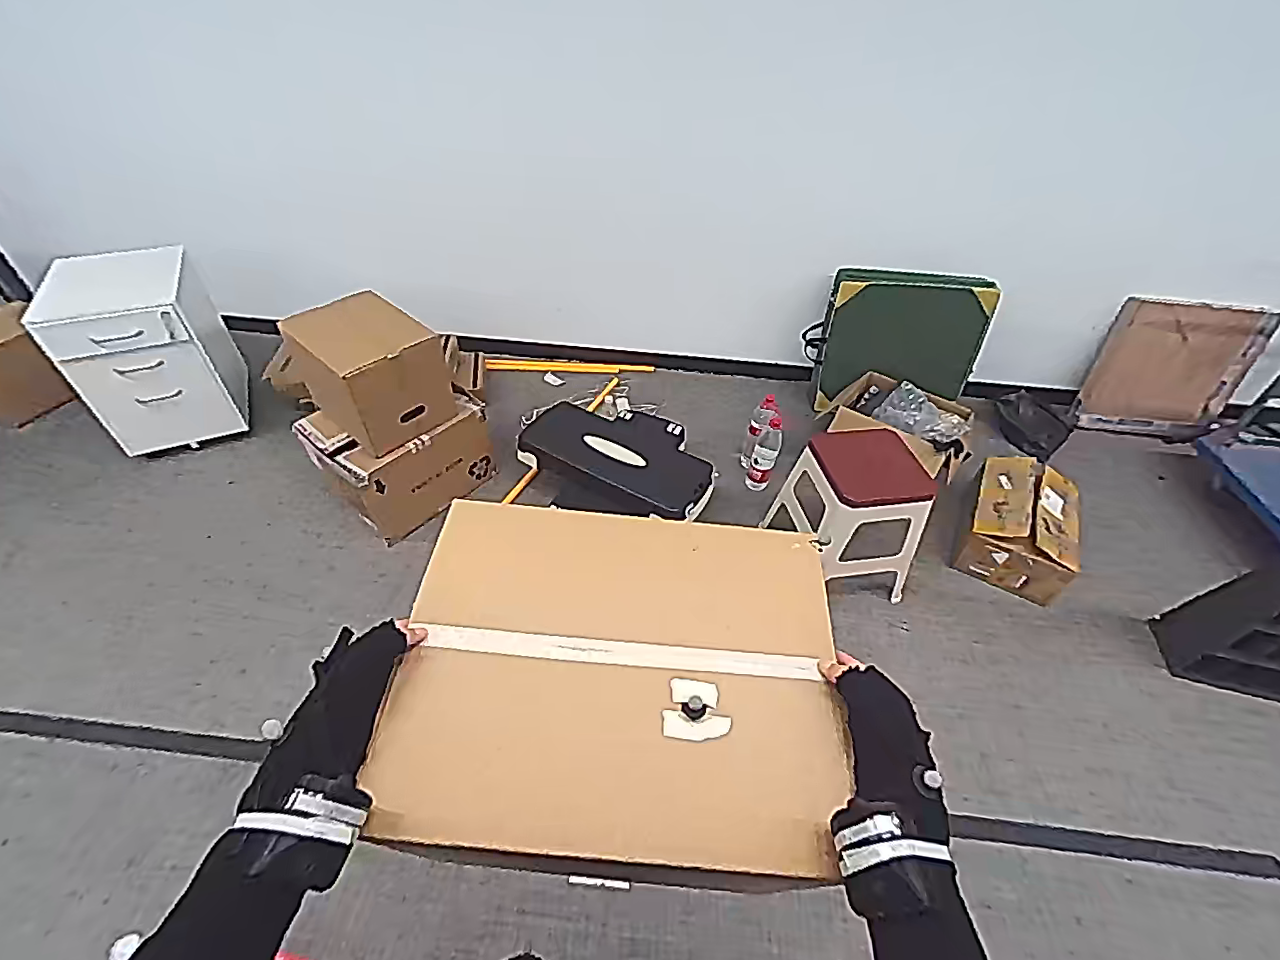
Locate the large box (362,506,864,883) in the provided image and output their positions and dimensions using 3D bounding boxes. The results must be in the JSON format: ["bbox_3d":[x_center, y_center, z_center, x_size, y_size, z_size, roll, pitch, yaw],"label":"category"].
[{"bbox_3d":[-0.023,0.256,0.628,0.408,0.320,0.320,6,52,-1],"label":"large box"}]
